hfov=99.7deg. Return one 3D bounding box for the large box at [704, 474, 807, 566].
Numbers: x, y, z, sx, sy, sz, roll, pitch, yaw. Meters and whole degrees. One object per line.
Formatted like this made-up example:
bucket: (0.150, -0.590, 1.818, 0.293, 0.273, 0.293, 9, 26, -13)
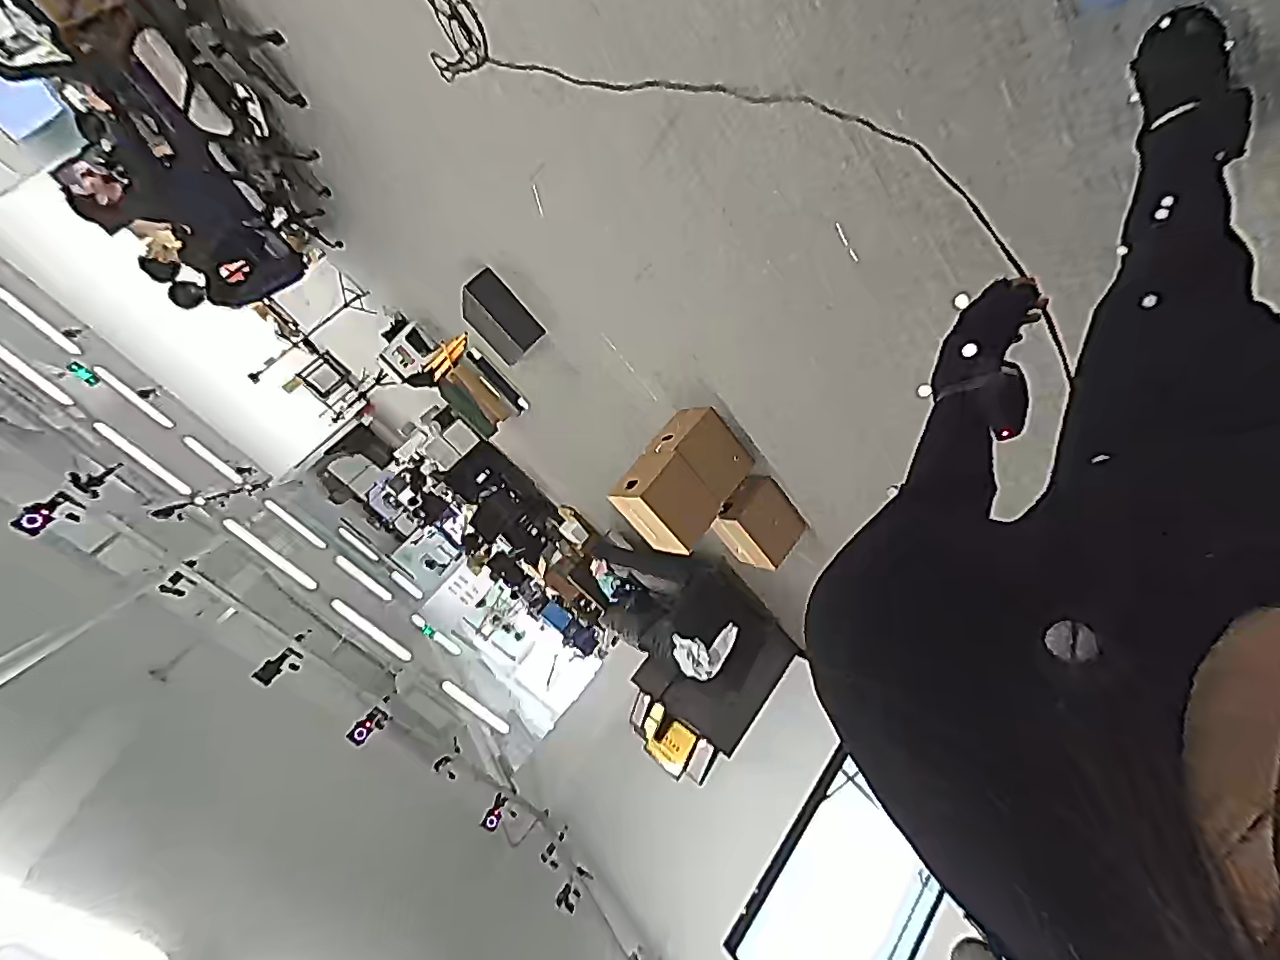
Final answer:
large box: (0.636, 0.208, 2.967, 0.408, 0.320, 0.320, 48, 161, -23)
